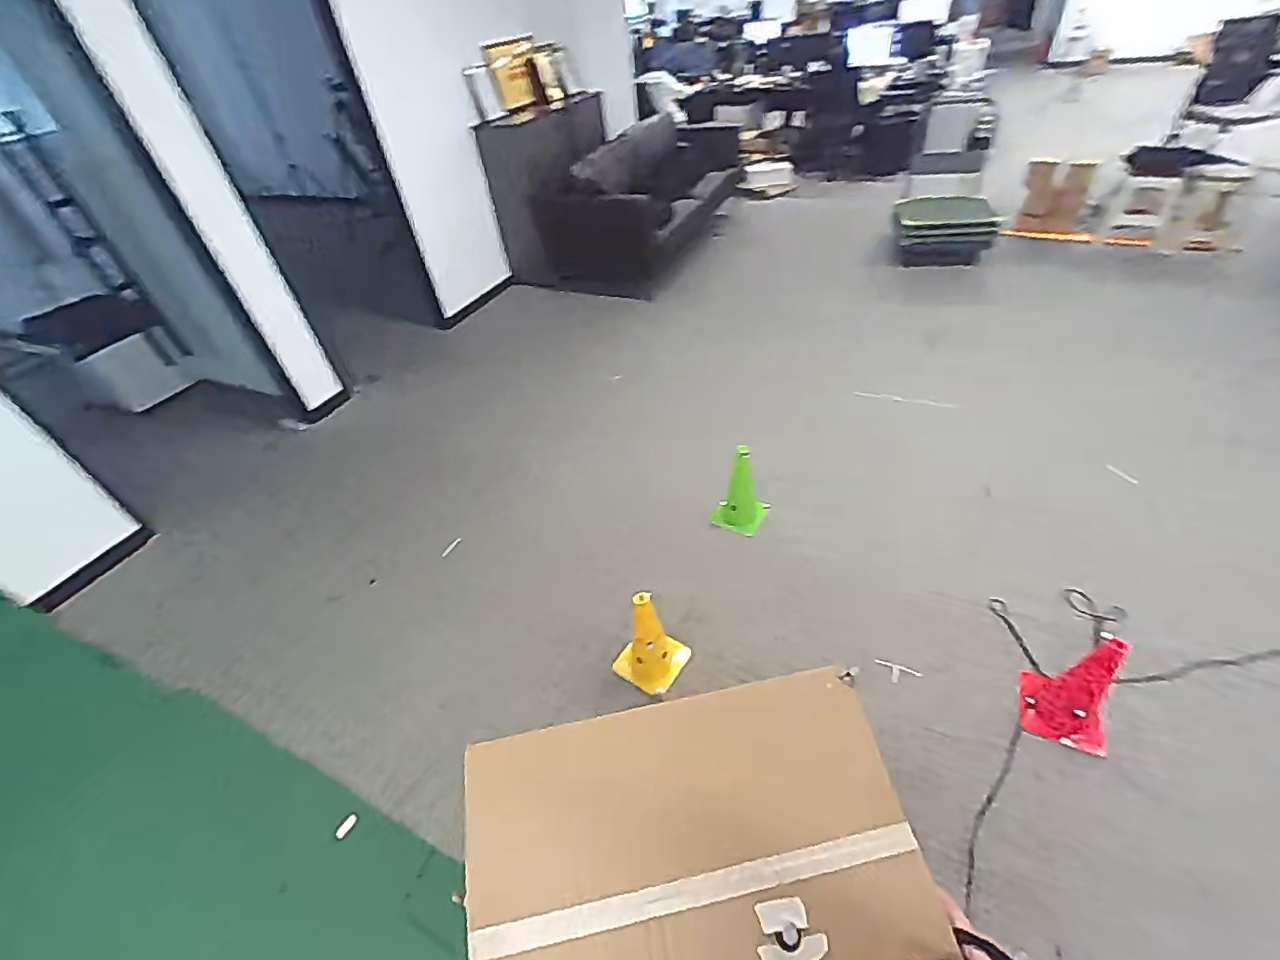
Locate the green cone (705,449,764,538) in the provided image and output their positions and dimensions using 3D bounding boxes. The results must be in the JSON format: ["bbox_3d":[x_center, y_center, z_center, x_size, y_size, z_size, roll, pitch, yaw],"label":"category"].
[{"bbox_3d":[0.377,0.023,2.152,0.200,0.368,0.202,18,49,26],"label":"green cone"}]

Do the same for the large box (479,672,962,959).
[{"bbox_3d":[0.063,0.450,0.611,0.408,0.320,0.320,-10,59,-5],"label":"large box"}]
